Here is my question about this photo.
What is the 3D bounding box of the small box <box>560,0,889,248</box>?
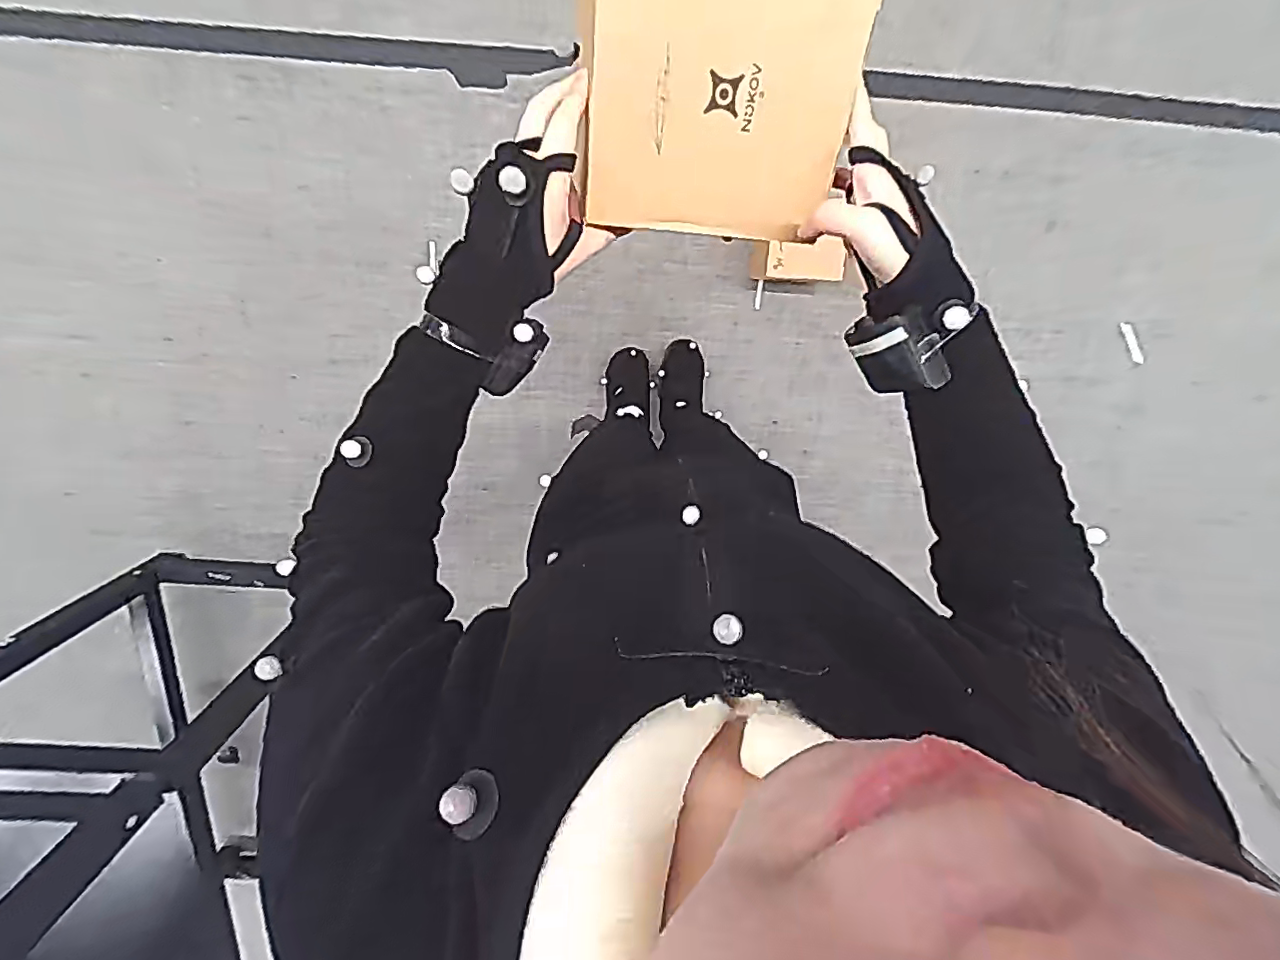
[{"bbox_3d":[0.039,-0.280,0.390,0.179,0.176,0.168,0,124,-12],"label":"small box"}]

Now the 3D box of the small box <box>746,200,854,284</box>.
[{"bbox_3d":[0.356,-0.542,1.236,0.179,0.176,0.168,2,109,-4],"label":"small box"}]
